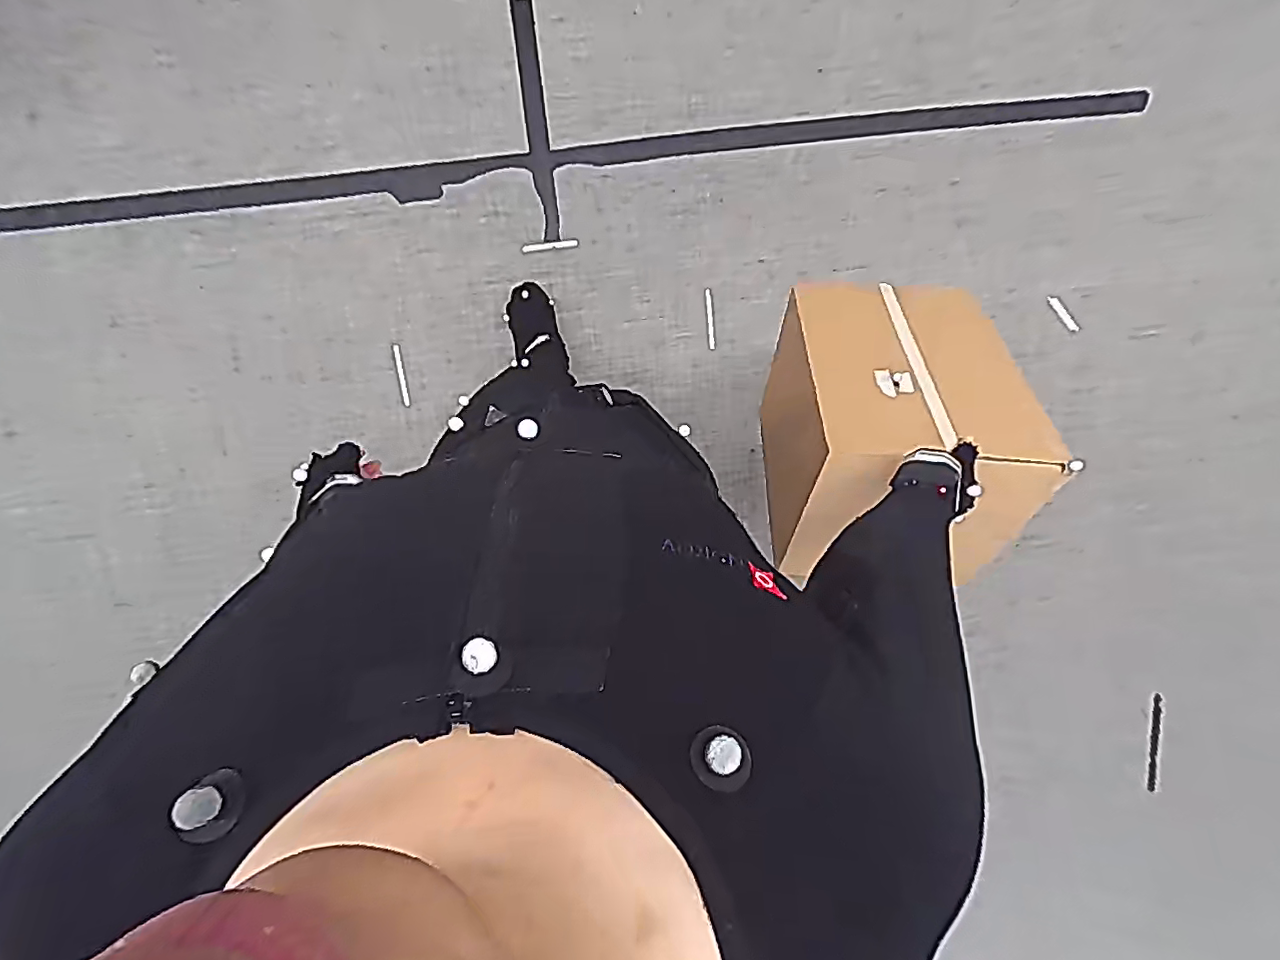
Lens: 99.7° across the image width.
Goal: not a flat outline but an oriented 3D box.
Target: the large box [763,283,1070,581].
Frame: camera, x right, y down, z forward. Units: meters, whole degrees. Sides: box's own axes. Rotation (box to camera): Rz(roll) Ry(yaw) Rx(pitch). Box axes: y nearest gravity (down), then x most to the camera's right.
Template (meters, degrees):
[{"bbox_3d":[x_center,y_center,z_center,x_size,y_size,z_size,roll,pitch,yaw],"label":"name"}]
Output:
[{"bbox_3d":[0.410,-0.085,0.935,0.320,0.408,0.320,4,142,2],"label":"large box"}]
